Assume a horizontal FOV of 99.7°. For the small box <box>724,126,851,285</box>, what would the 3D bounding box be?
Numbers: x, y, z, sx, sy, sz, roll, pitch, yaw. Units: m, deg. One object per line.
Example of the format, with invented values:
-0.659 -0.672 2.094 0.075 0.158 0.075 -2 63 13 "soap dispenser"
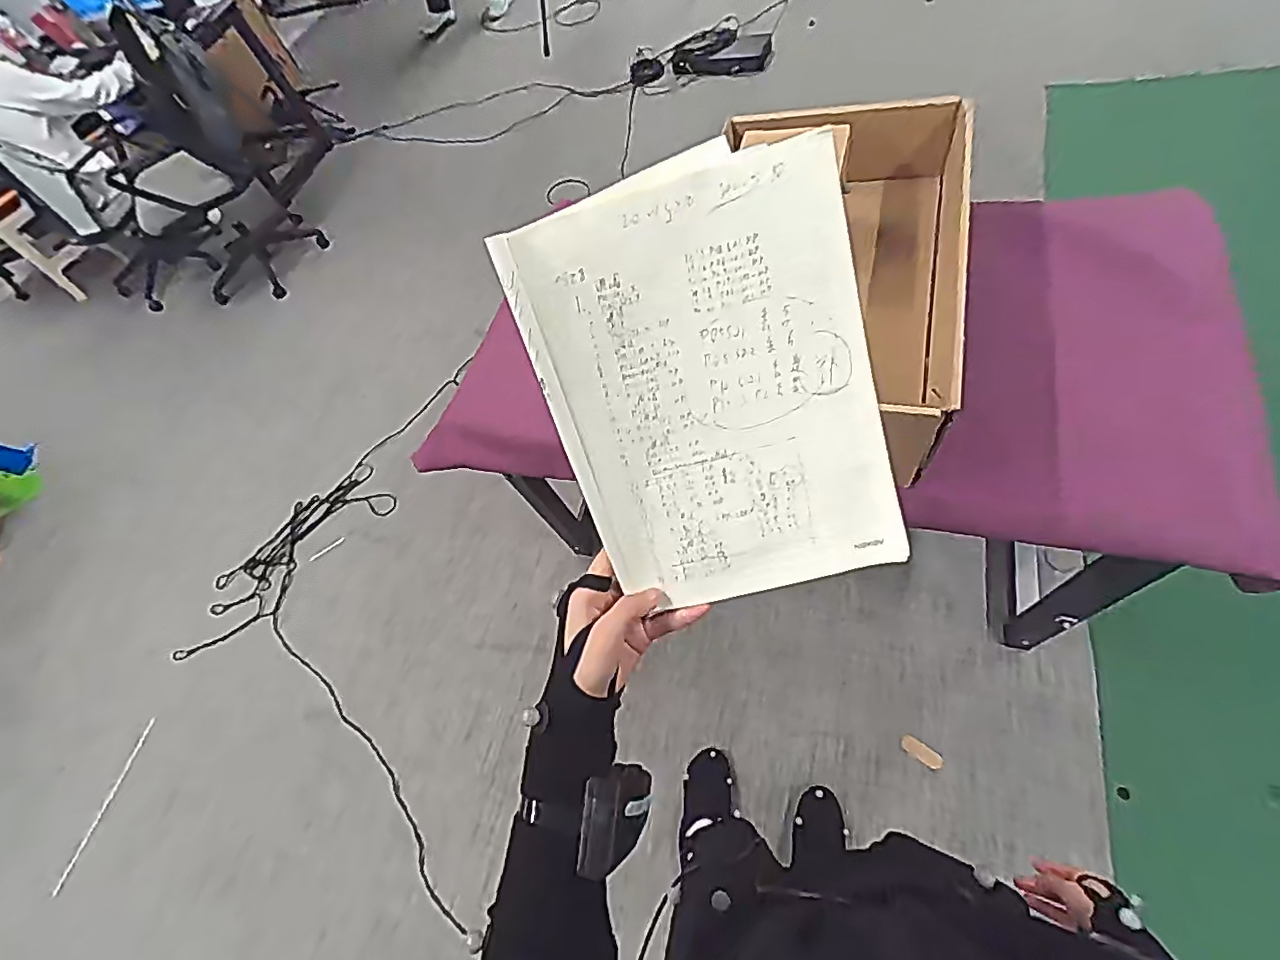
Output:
0.247 -0.447 0.898 0.168 0.176 0.179 9 66 20 "small box"
